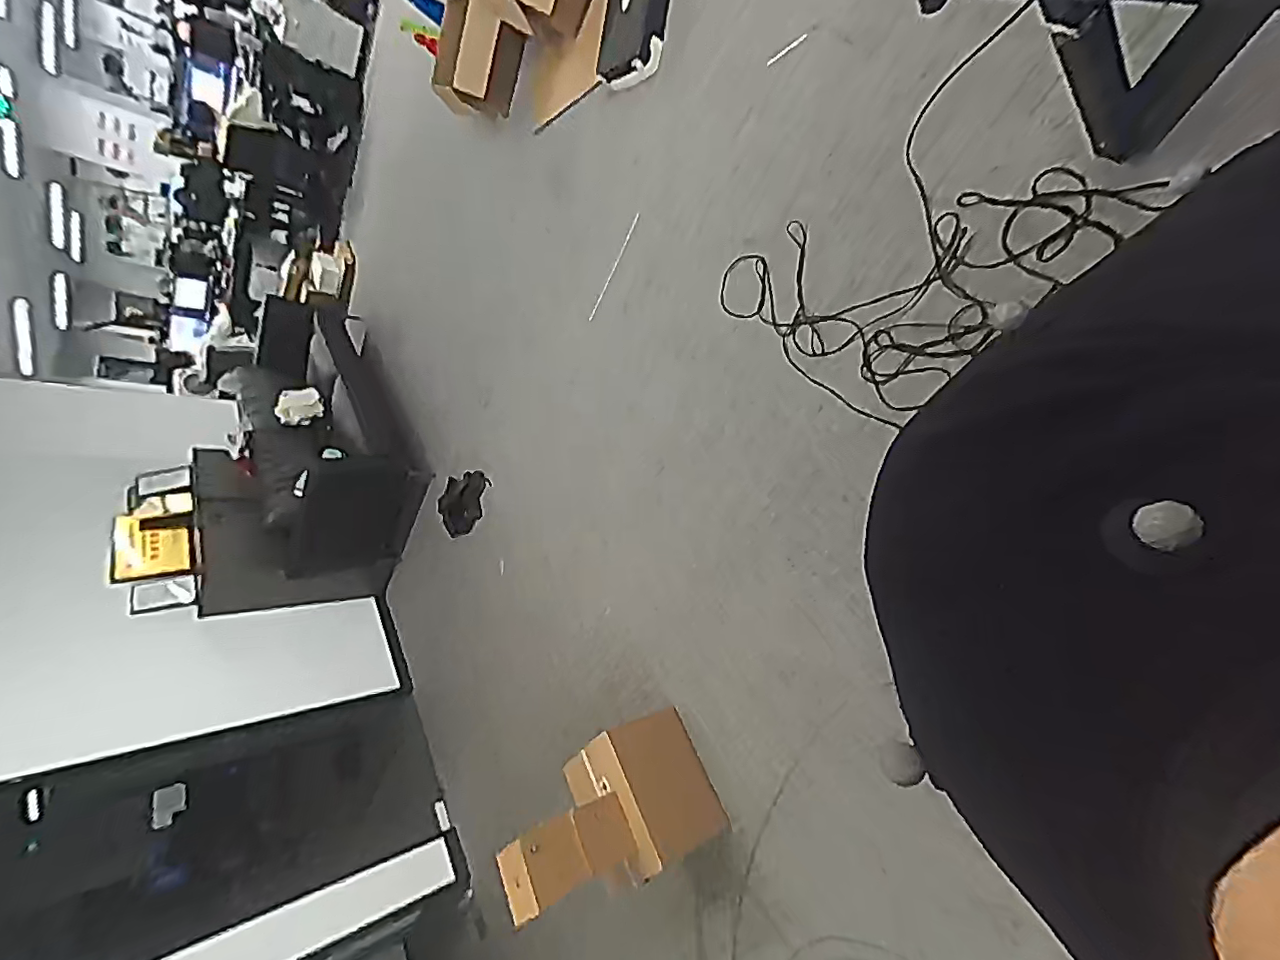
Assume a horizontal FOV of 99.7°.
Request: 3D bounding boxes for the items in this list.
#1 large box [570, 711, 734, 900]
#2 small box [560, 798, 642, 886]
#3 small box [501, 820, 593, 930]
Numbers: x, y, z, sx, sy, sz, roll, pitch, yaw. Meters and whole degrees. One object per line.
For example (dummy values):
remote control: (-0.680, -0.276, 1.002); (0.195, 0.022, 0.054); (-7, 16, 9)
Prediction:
large box: (0.030, 1.047, 1.774); (0.320, 0.320, 0.408); (-52, 52, 31)
small box: (-0.128, 1.066, 1.586); (0.168, 0.176, 0.179); (-53, 54, 34)
small box: (-0.253, 1.077, 1.482); (0.168, 0.176, 0.179); (-53, 52, 33)
